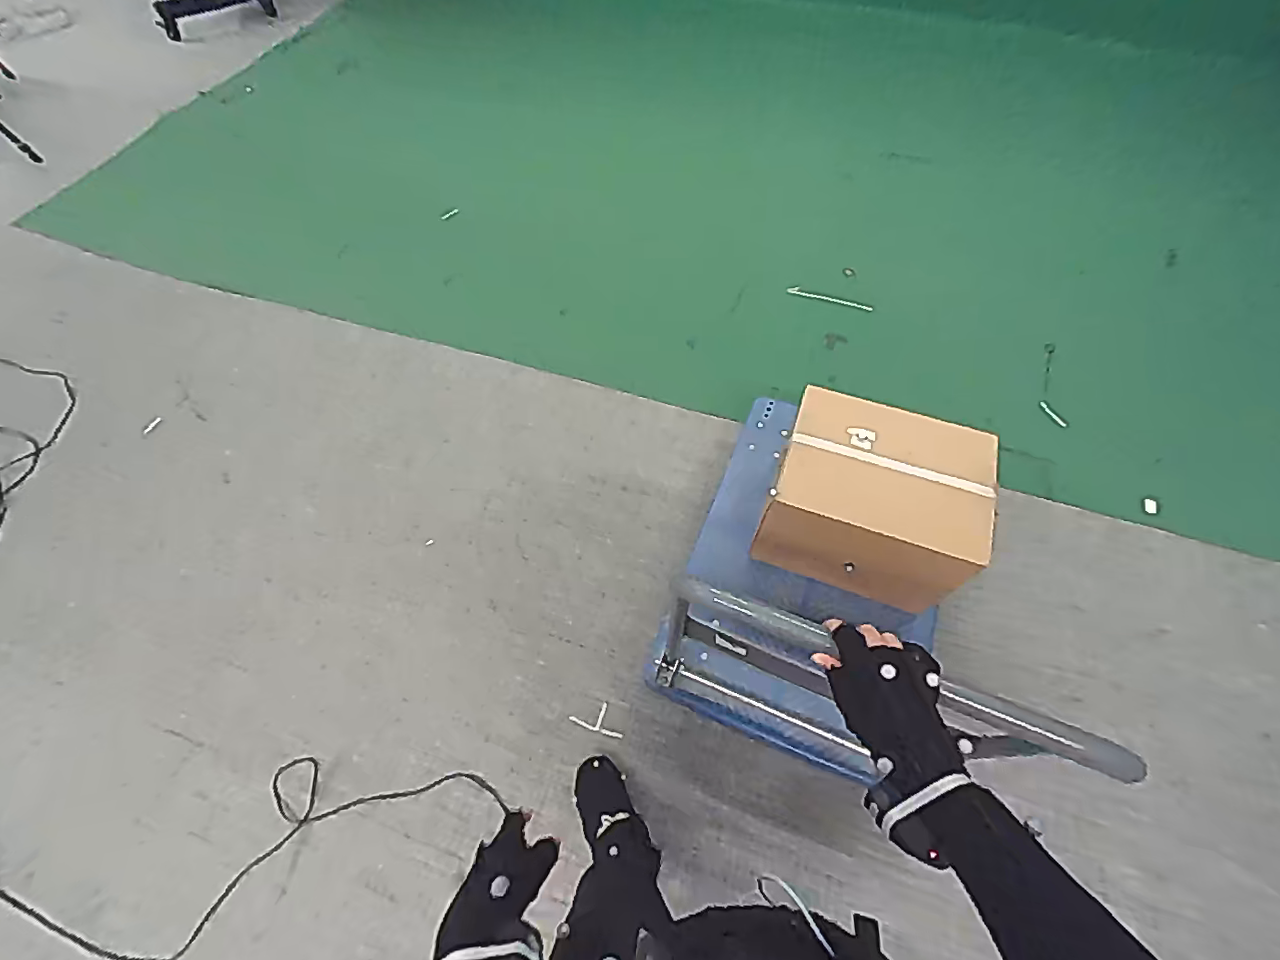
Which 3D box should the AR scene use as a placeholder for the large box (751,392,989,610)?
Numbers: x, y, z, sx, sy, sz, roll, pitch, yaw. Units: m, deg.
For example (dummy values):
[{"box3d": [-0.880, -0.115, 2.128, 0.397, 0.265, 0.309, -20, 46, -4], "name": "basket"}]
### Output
[{"box3d": [0.506, 0.055, 1.238, 0.408, 0.320, 0.320, 18, 61, 12], "name": "large box"}]
